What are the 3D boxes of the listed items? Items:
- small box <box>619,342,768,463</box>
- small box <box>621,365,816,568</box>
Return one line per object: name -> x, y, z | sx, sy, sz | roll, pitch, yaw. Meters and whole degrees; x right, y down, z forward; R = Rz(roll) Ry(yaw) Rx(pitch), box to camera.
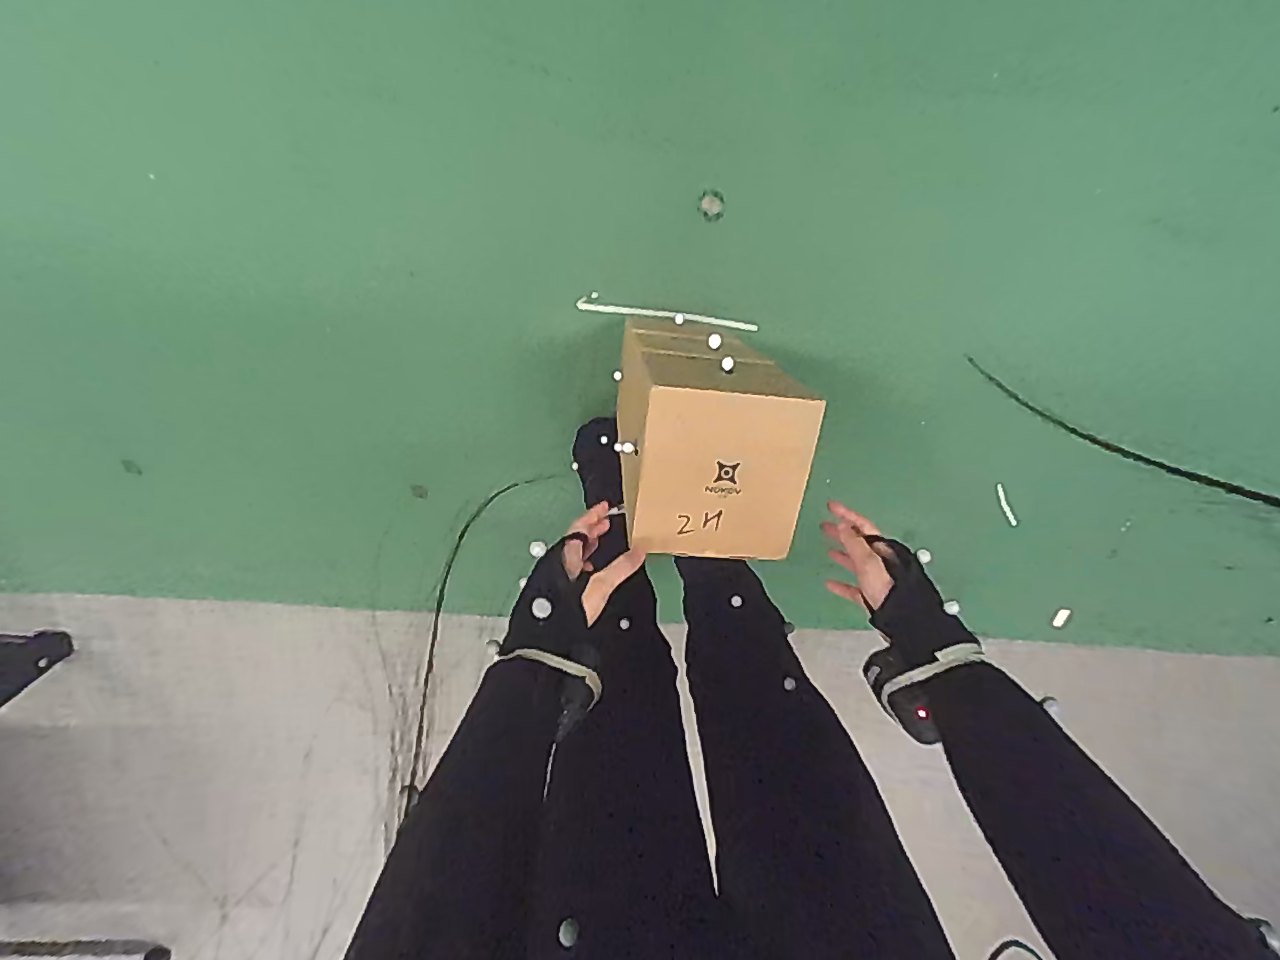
small box -> 0.061, -0.089, 0.750 | 0.168, 0.176, 0.179 | 4, 113, -6
small box -> 0.070, -0.023, 0.600 | 0.168, 0.176, 0.179 | 4, 113, -6
